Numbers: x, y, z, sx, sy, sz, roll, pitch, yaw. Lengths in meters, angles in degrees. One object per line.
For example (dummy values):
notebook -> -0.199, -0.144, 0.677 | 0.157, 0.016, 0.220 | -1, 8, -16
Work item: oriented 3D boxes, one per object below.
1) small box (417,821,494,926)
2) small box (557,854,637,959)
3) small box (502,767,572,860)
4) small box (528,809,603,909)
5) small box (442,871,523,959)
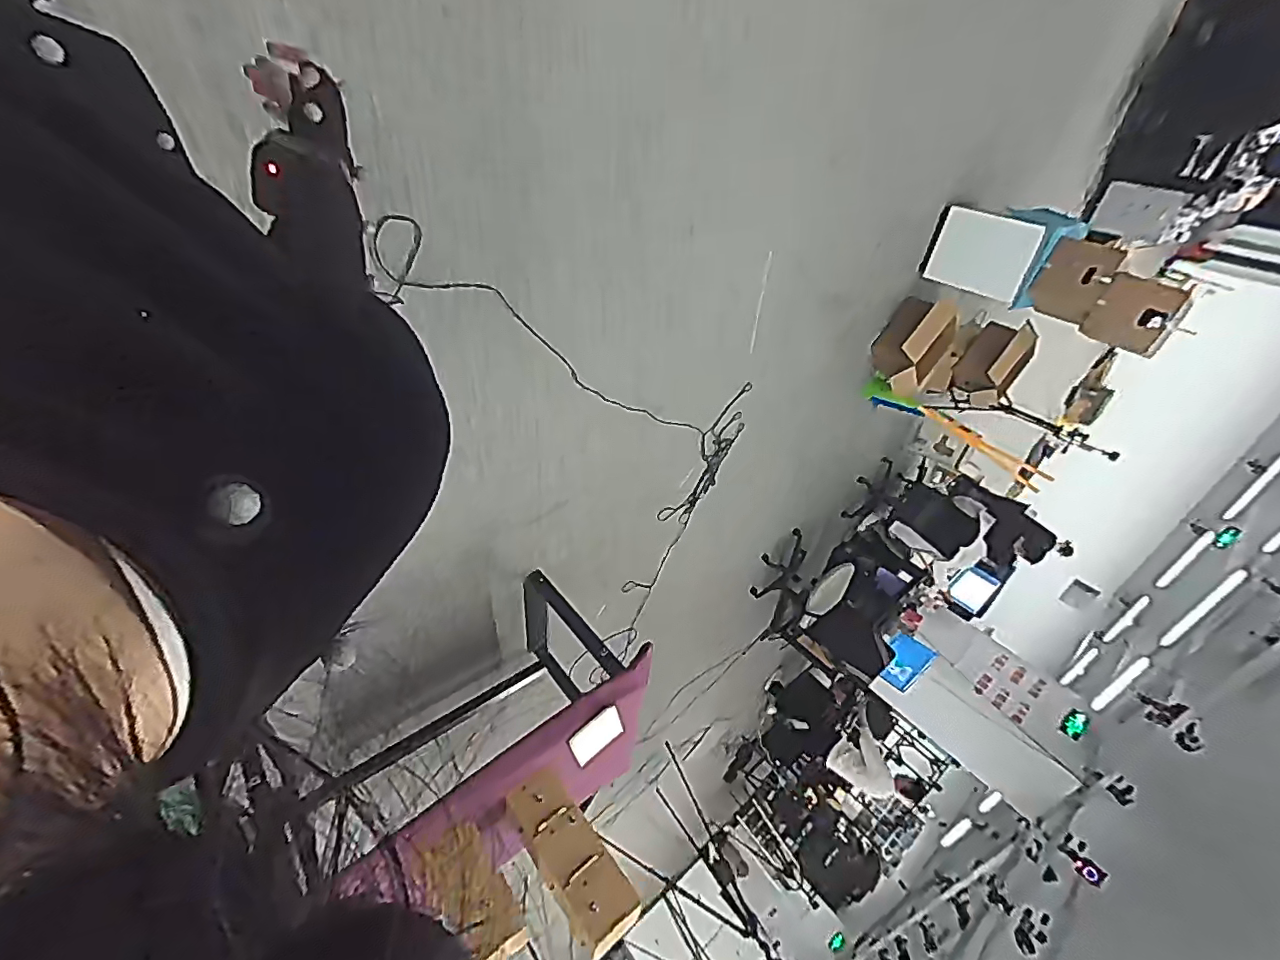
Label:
small box -> -0.548, 1.170, 1.616 | 0.168, 0.176, 0.179 | -23, 137, -35
small box -> -0.130, 1.244, 1.579 | 0.168, 0.176, 0.179 | -21, 136, -34
small box -> -0.340, 1.085, 1.775 | 0.168, 0.176, 0.179 | -22, 135, -34
small box -> -0.234, 1.164, 1.676 | 0.168, 0.176, 0.179 | -22, 137, -34
small box -> -0.444, 1.259, 1.528 | 0.168, 0.176, 0.179 | -22, 136, -34
